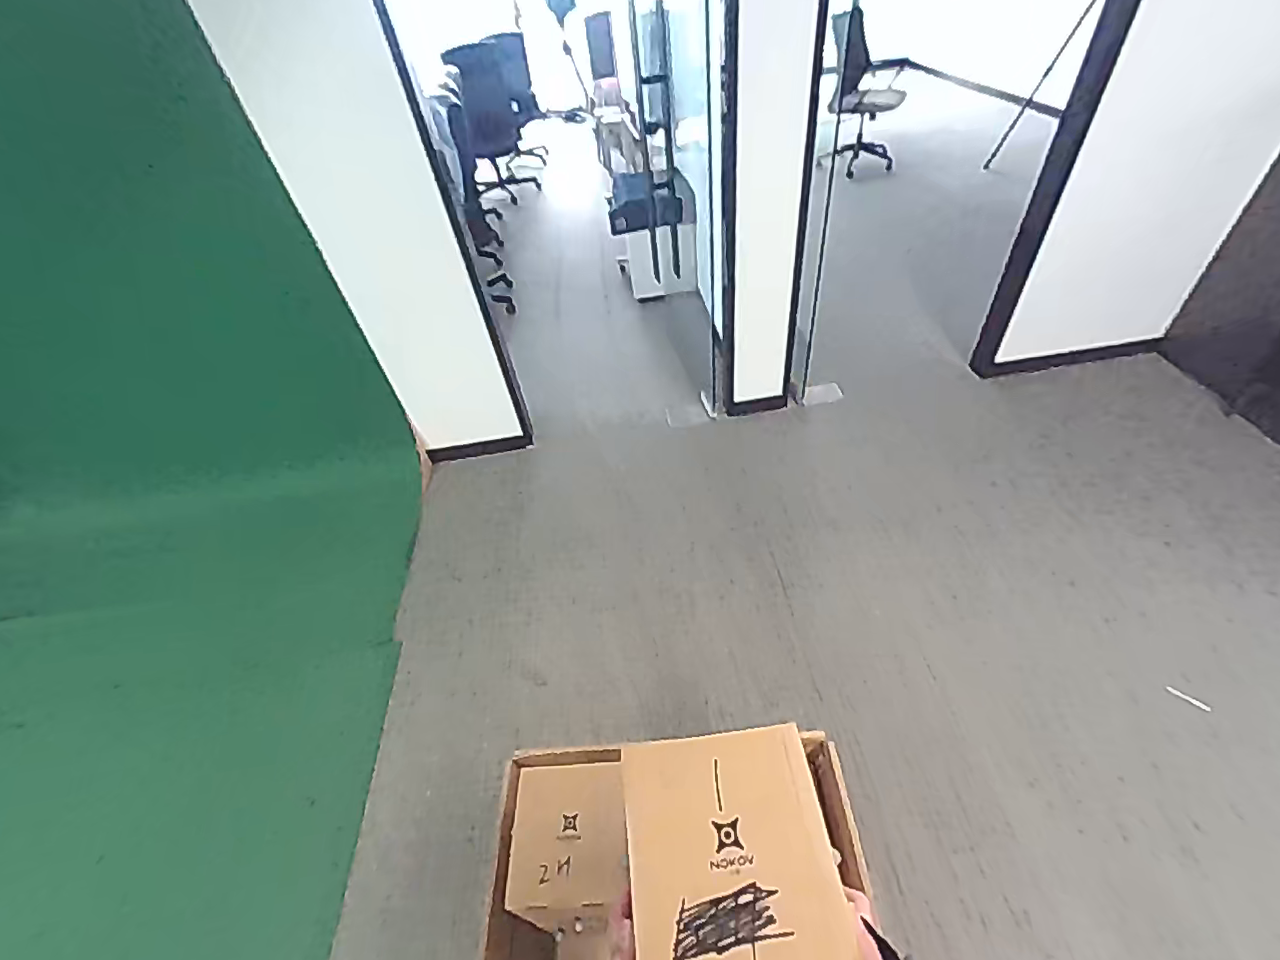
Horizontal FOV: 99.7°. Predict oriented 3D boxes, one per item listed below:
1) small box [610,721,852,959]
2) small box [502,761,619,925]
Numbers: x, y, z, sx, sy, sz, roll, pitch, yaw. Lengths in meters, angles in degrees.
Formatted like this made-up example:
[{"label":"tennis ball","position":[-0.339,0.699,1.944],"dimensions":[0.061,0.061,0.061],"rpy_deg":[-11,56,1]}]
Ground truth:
[{"label":"small box","position":[0.070,0.341,0.487],"dimensions":[0.168,0.176,0.179],"rpy_deg":[-8,49,0]},{"label":"small box","position":[-0.093,0.548,0.817],"dimensions":[0.168,0.176,0.179],"rpy_deg":[-5,45,4]}]
